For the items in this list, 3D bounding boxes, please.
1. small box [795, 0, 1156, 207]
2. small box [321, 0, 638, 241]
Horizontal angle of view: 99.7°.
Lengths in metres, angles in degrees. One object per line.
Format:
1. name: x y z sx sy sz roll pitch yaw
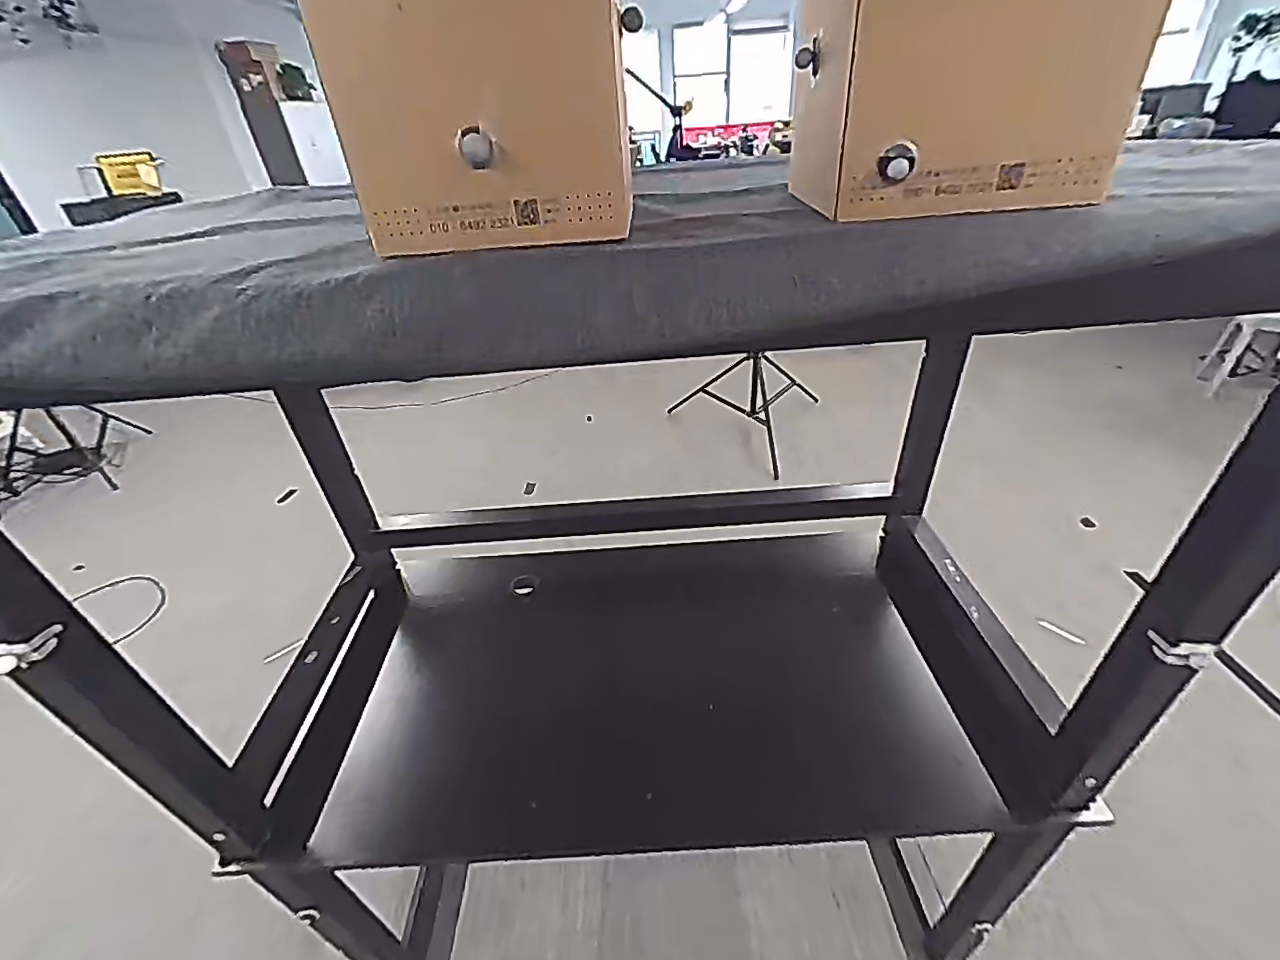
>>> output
1. small box: 0.207 -0.289 0.370 0.168 0.176 0.179 -2 32 5
2. small box: -0.091 -0.268 0.373 0.168 0.176 0.179 -4 32 3
